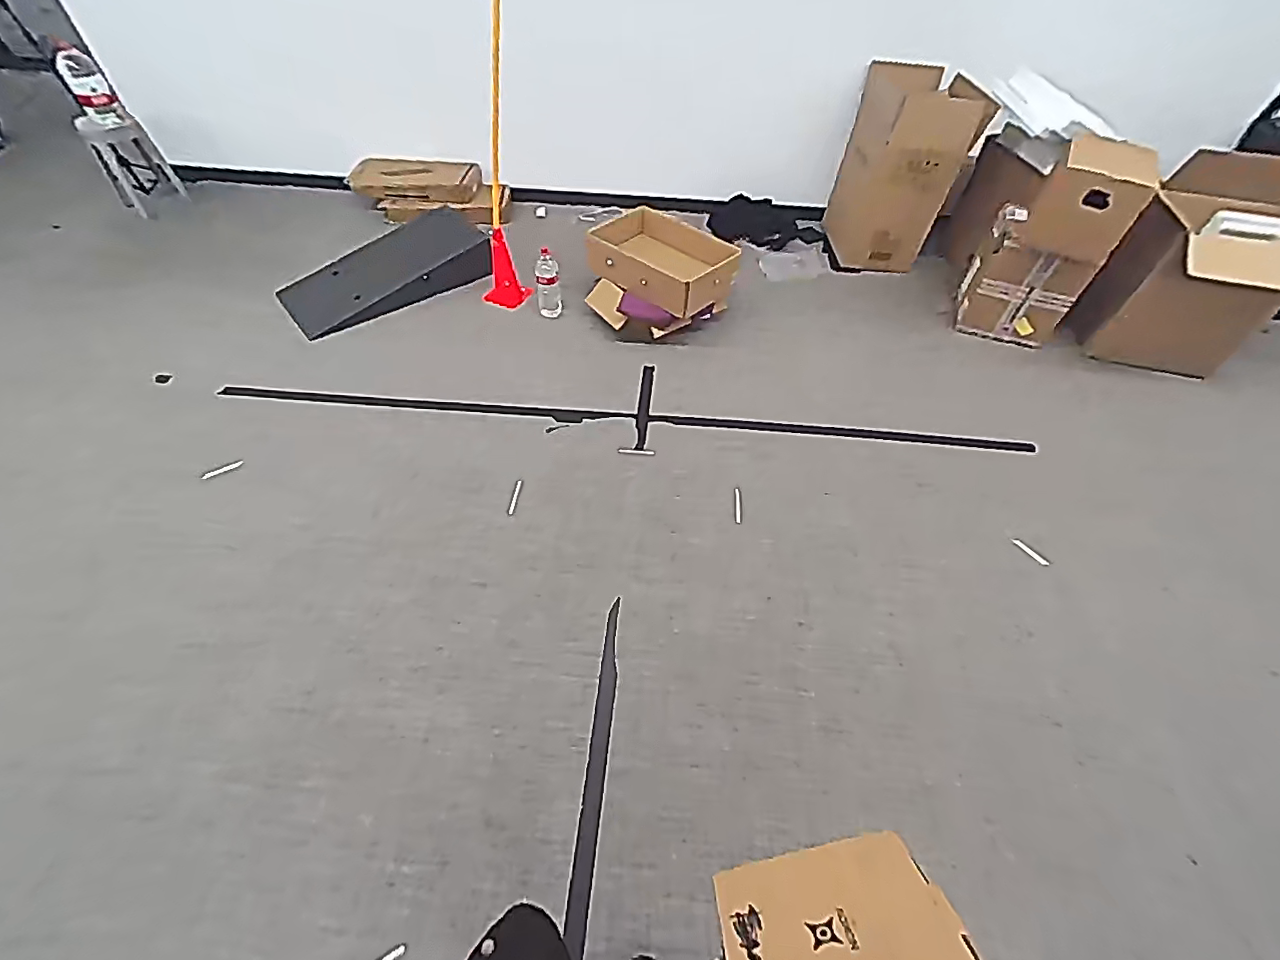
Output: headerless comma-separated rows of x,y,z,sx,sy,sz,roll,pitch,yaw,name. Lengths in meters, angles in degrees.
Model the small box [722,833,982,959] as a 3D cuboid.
0.177,0.434,0.434,0.179,0.168,0.176,-13,92,1,small box
